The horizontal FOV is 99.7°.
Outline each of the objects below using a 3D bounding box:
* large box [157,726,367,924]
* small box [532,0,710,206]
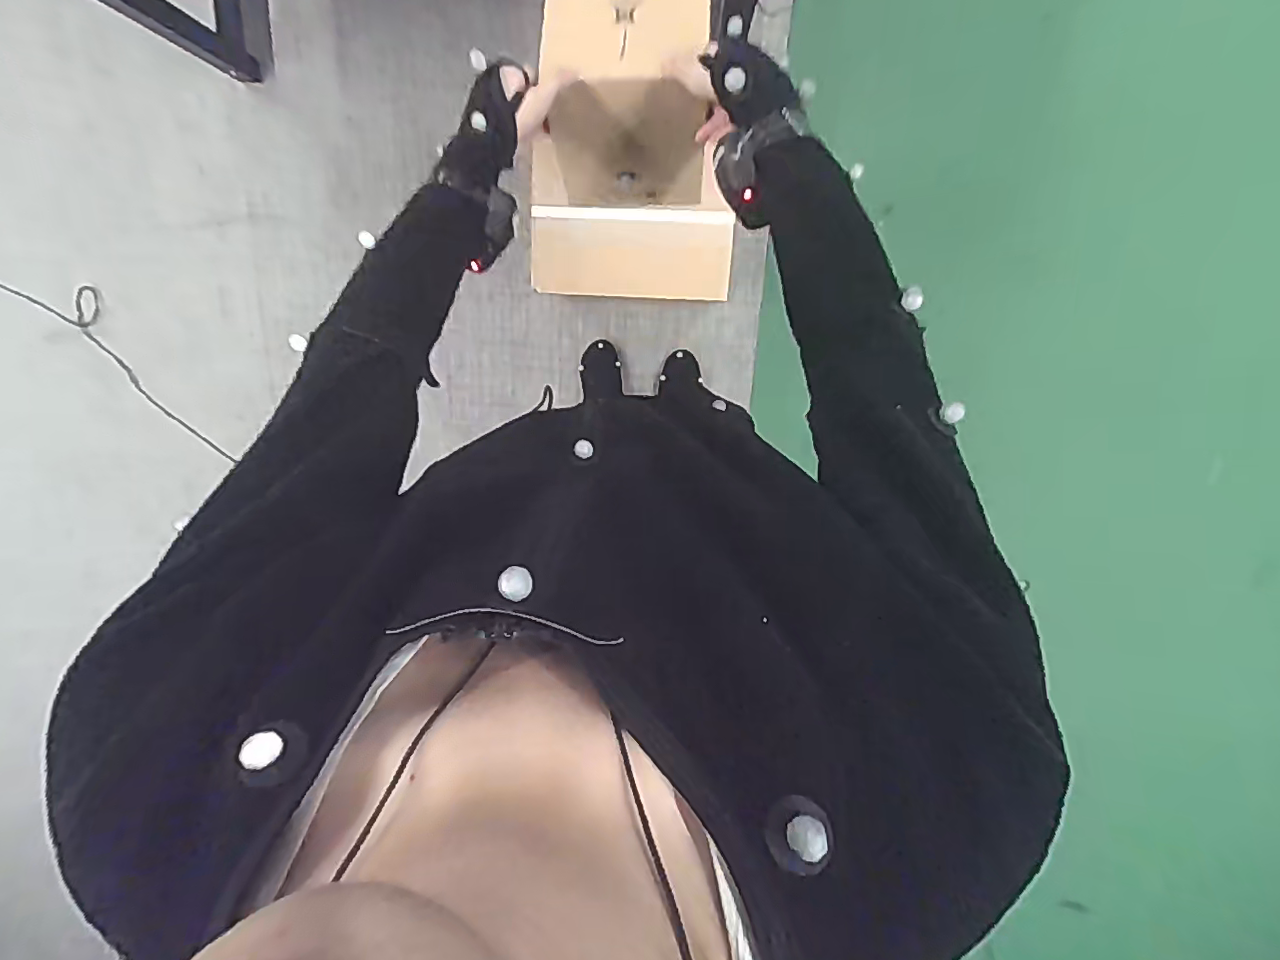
[{"bbox_3d":[-1.181,1.085,1.729,0.408,0.320,0.320,33,104,-4],"label":"large box"},{"bbox_3d":[-0.012,-0.438,0.597,0.168,0.176,0.179,2,75,4],"label":"small box"}]
